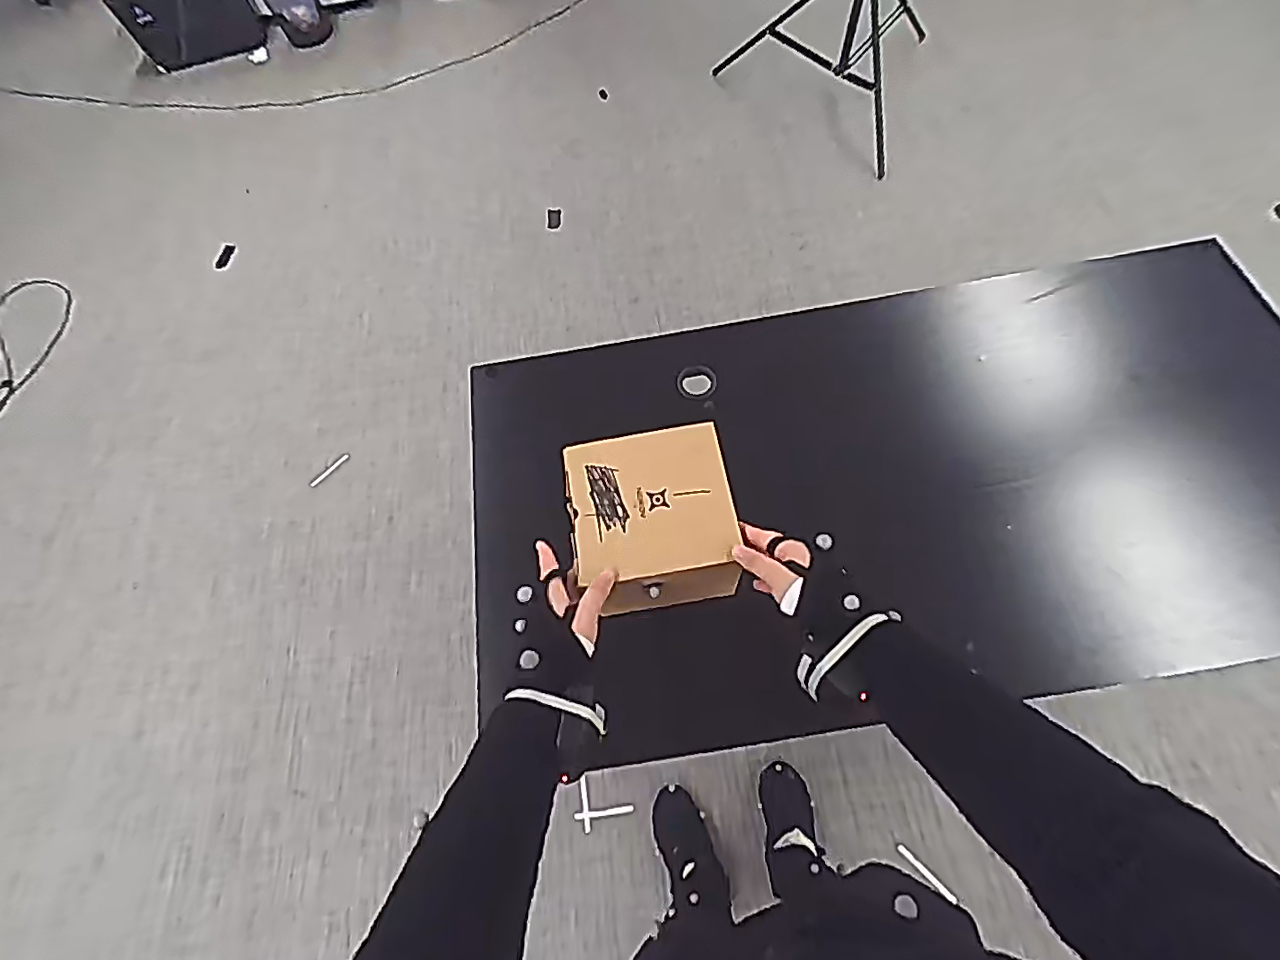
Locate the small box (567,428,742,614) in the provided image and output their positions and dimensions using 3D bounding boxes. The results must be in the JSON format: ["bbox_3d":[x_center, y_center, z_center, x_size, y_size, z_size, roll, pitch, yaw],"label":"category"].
[{"bbox_3d":[0.017,0.060,0.664,0.179,0.176,0.168,-10,66,0],"label":"small box"}]
